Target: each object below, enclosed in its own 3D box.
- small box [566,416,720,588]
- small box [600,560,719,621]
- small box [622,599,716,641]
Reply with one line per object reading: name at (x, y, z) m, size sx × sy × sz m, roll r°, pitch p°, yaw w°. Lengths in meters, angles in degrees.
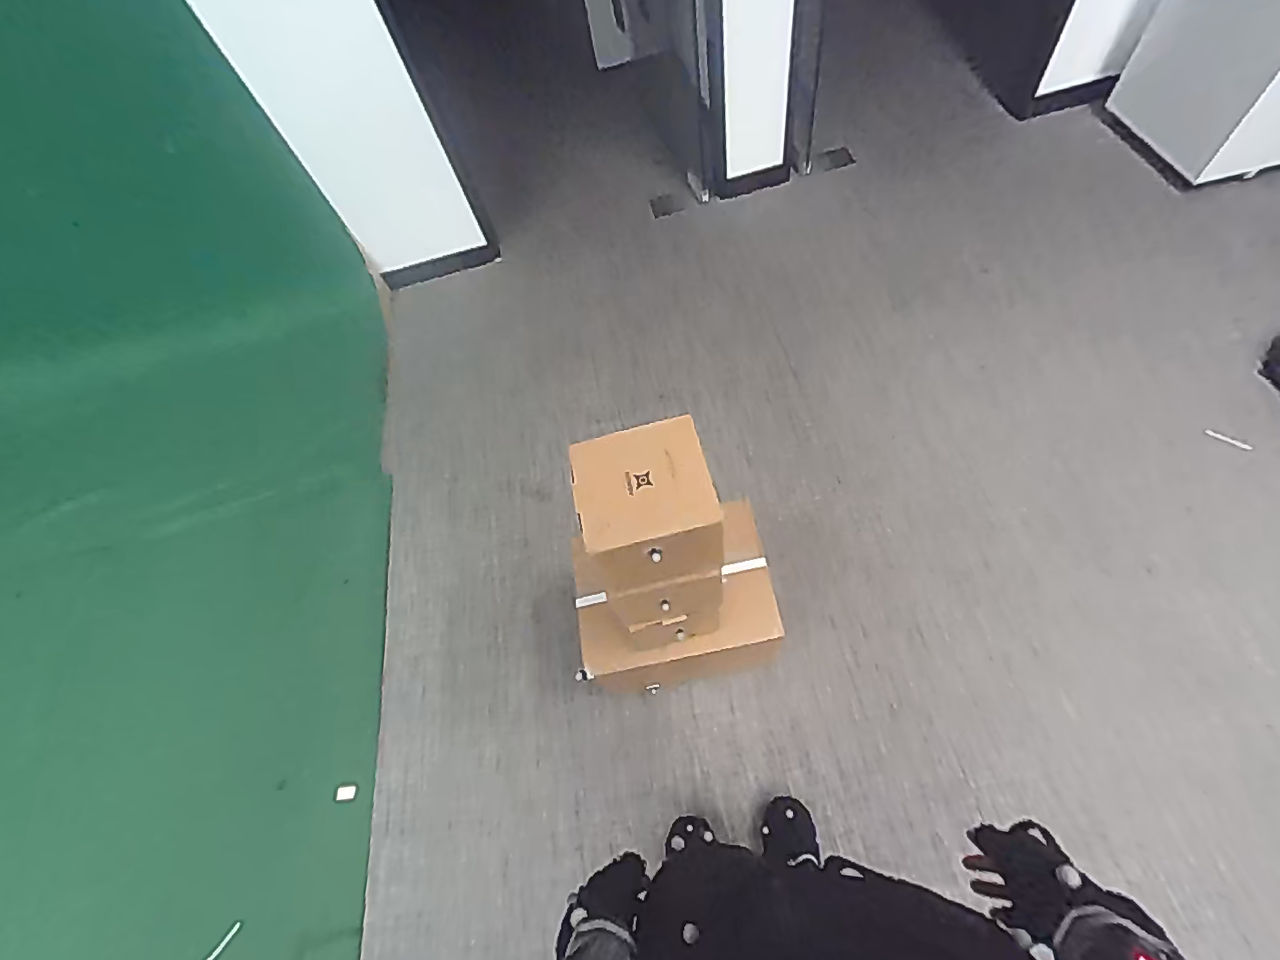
small box at (0.010, 0.040, 0.763) m, size 0.179 × 0.176 × 0.168 m, roll -14°, pitch 62°, yaw 1°
small box at (0.029, 0.123, 0.900) m, size 0.179 × 0.176 × 0.168 m, roll -13°, pitch 60°, yaw 3°
small box at (0.045, 0.201, 1.045) m, size 0.168 × 0.176 × 0.179 m, roll -16°, pitch 61°, yaw 1°
